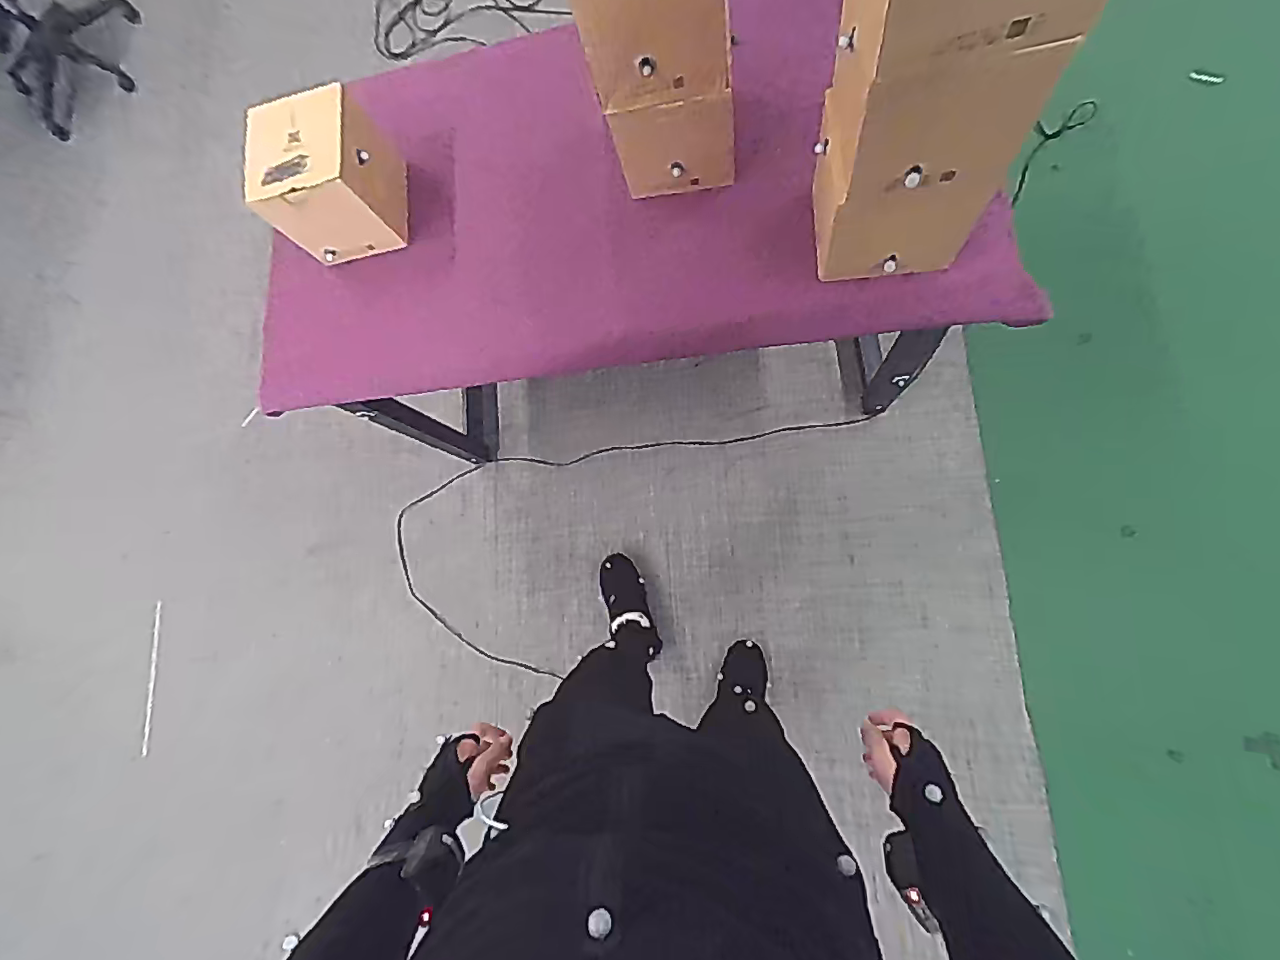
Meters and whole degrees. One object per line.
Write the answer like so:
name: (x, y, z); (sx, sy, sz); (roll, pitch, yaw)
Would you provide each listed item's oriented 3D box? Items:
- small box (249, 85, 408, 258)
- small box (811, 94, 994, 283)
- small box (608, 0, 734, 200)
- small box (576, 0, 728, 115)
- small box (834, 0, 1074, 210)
small box: (-0.505, -0.494, 0.898); (0.168, 0.176, 0.179); (-8, 77, 9)
small box: (0.328, -0.381, 0.713); (0.179, 0.176, 0.168); (-1, 78, 11)
small box: (0.053, -0.554, 0.801); (0.168, 0.176, 0.179); (-1, 80, 11)
small box: (0.016, -0.588, 0.646); (0.168, 0.176, 0.179); (-5, 79, 10)
small box: (0.298, -0.416, 0.556); (0.168, 0.176, 0.179); (-2, 79, 13)
